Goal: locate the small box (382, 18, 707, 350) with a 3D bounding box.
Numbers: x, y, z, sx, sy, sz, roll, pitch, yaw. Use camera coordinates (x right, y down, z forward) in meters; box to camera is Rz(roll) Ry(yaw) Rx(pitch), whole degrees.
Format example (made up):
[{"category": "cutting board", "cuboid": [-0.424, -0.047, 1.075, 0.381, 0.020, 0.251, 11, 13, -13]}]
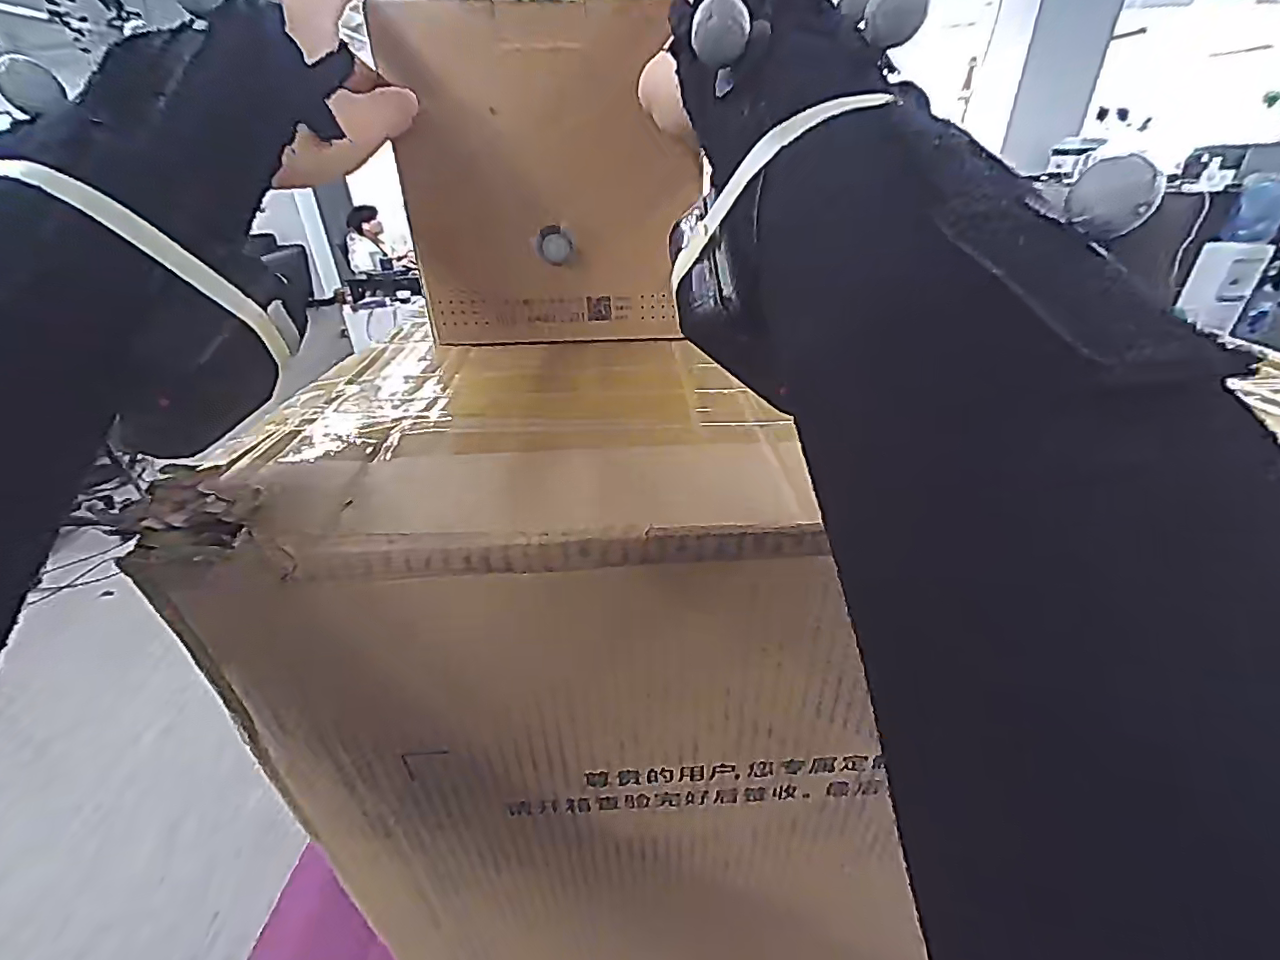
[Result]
[{"category": "small box", "cuboid": [-0.049, -0.197, 0.379, 0.168, 0.176, 0.179, -3, 31, -1]}]
